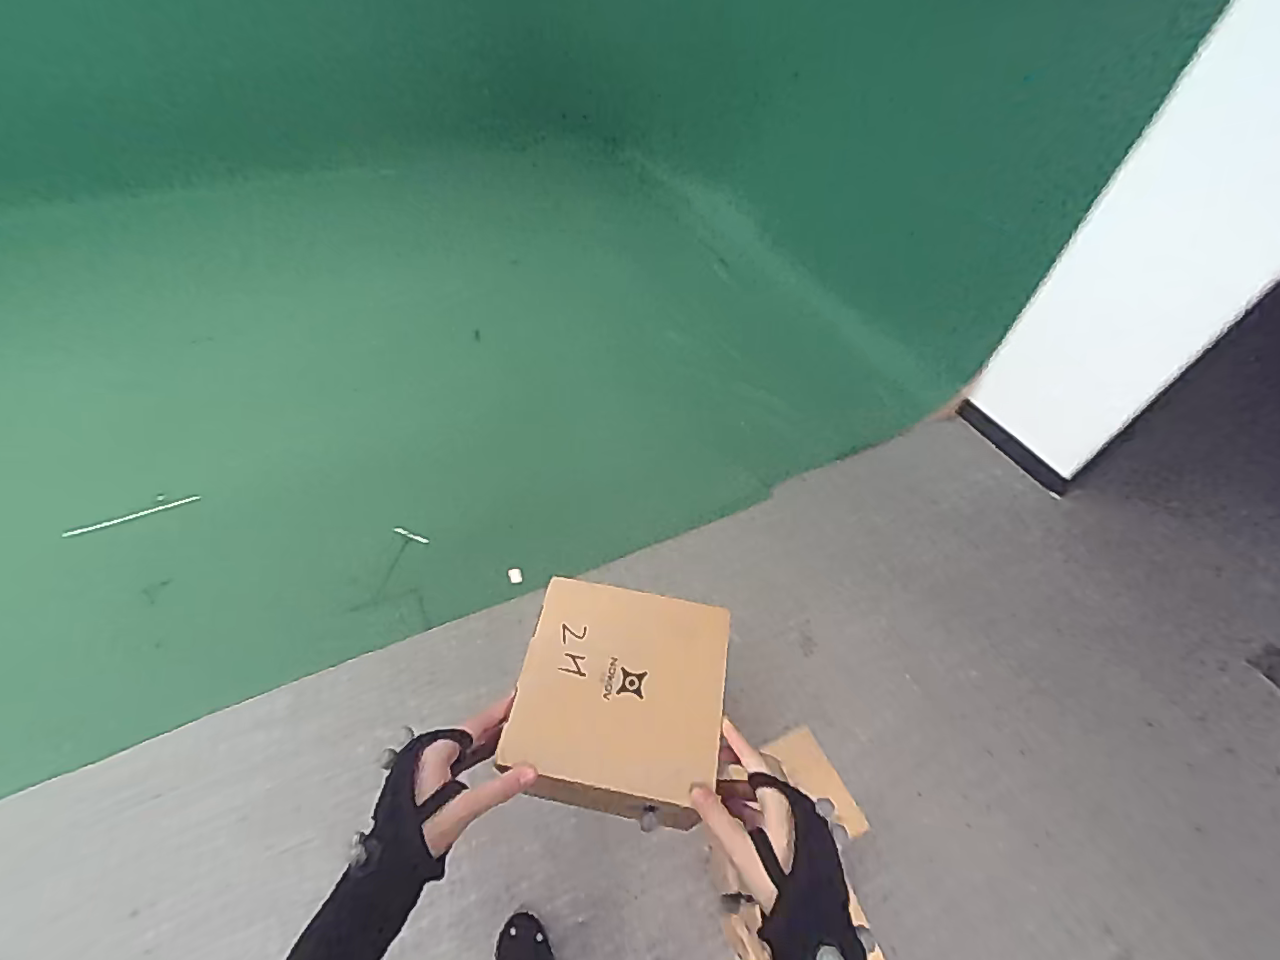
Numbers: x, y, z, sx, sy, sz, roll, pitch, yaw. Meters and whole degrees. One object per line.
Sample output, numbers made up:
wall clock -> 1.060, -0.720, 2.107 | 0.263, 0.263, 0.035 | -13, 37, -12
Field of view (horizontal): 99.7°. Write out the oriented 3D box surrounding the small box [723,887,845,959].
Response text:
small box -> 0.285, 0.943, 1.074 | 0.179, 0.176, 0.168 | -19, 54, -15

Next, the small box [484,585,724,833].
small box -> -0.025, 0.225, 0.522 | 0.179, 0.176, 0.168 | 9, 52, 5
